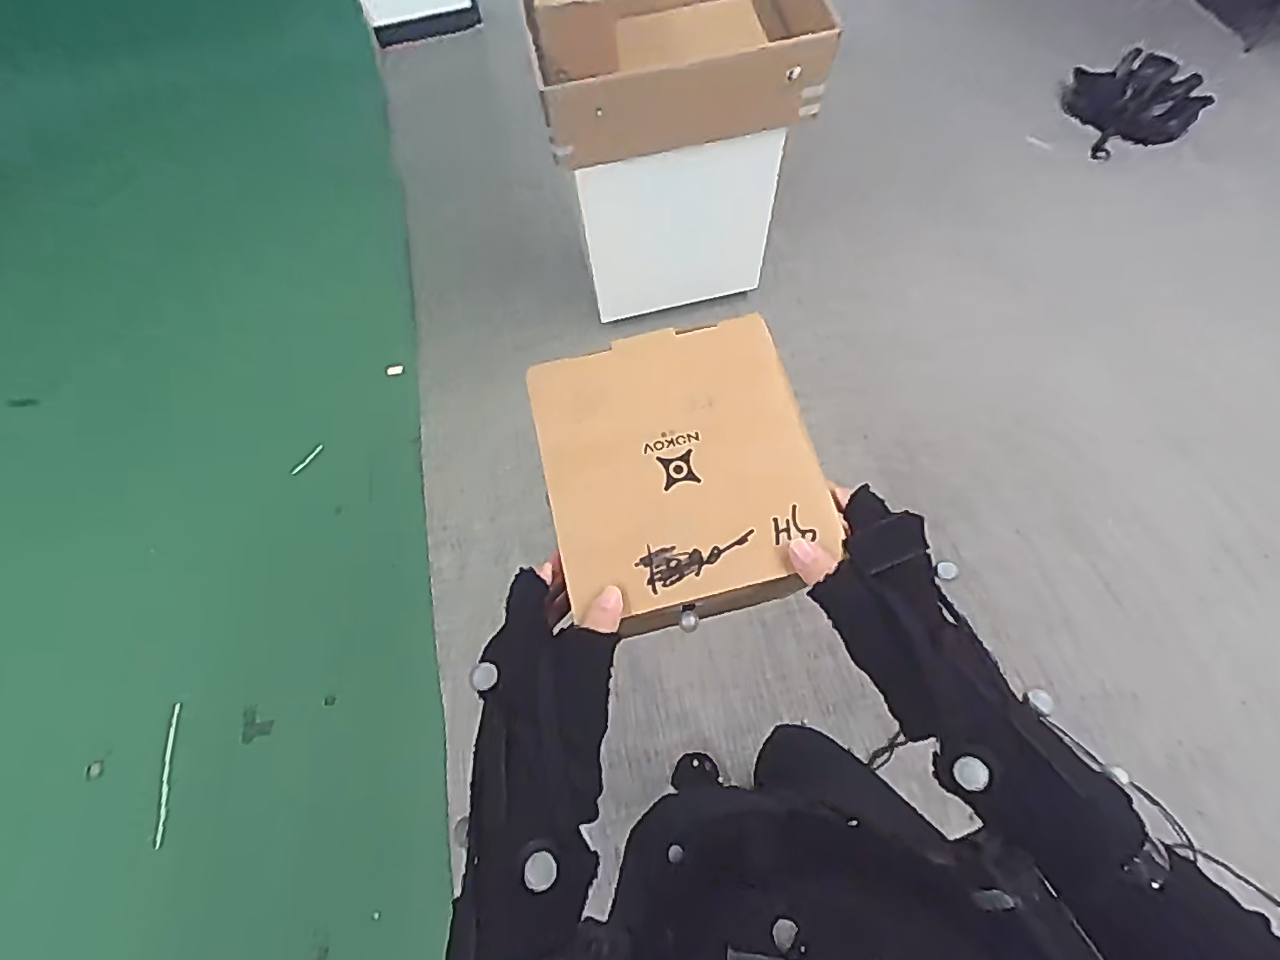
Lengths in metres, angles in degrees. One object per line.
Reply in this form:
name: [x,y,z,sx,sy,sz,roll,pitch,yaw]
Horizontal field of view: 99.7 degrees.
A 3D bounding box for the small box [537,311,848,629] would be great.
small box: [0.030,0.006,0.417,0.168,0.176,0.179,-14,70,0]
